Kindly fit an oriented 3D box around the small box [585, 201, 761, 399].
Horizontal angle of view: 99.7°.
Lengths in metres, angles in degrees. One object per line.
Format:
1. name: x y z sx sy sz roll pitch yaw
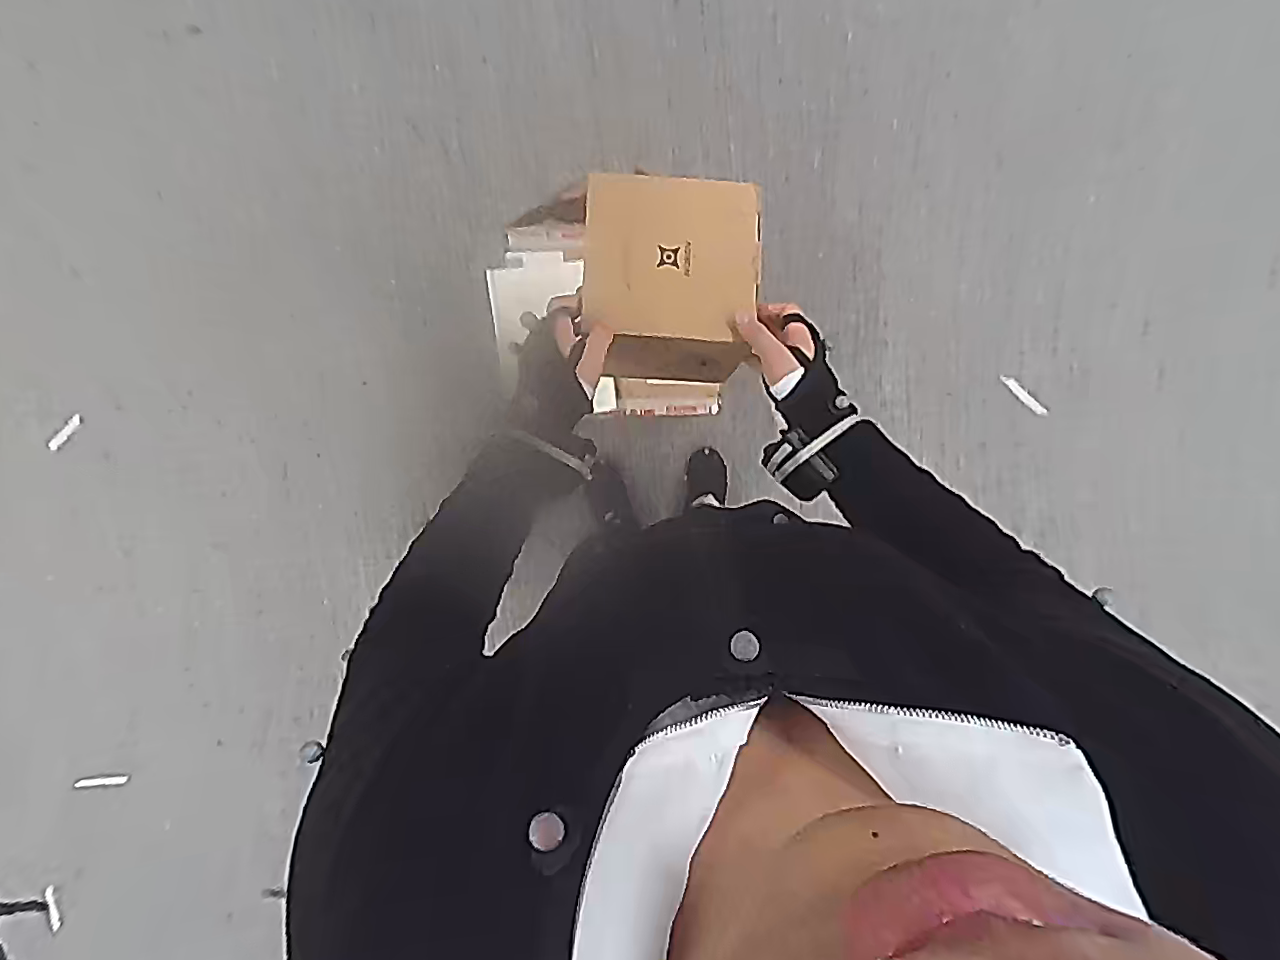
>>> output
1. small box: 0.031 -0.193 0.625 0.179 0.176 0.168 2 86 -2
